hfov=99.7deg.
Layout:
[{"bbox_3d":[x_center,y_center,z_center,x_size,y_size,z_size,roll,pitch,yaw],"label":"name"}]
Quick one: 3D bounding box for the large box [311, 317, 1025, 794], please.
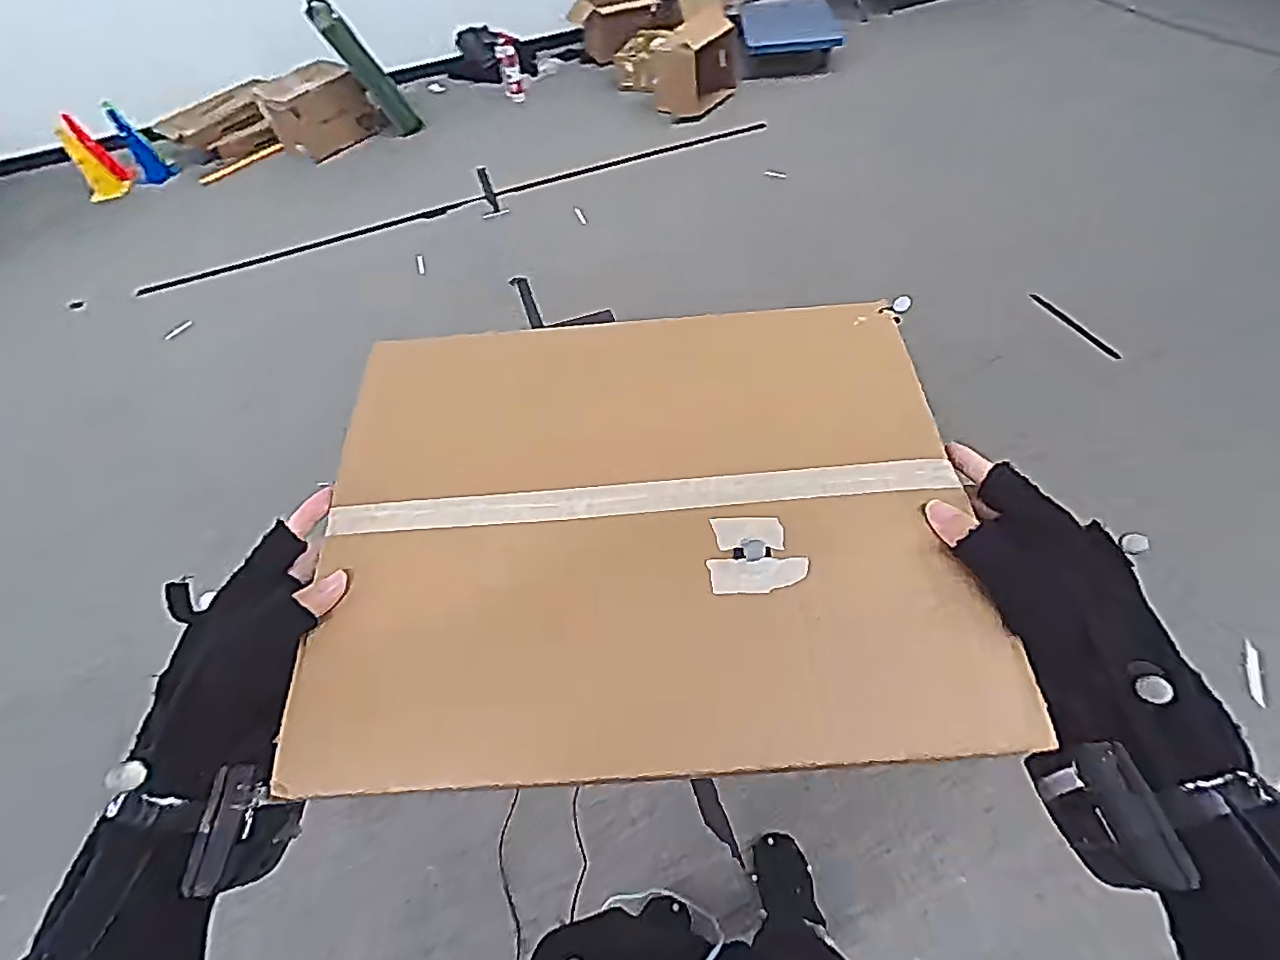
[{"bbox_3d":[0.009,0.089,0.496,0.408,0.320,0.320,-5,62,0],"label":"large box"}]
